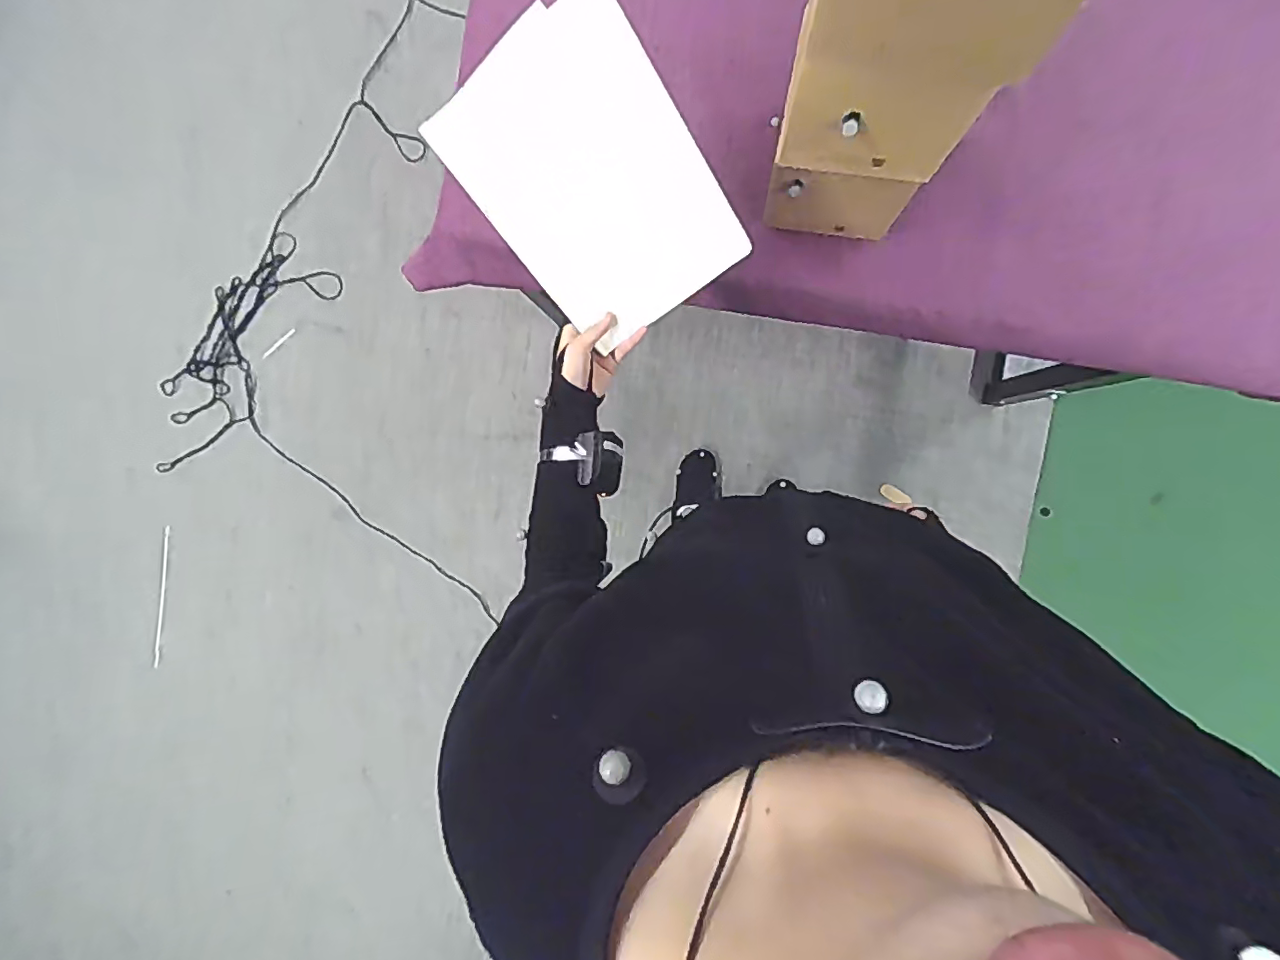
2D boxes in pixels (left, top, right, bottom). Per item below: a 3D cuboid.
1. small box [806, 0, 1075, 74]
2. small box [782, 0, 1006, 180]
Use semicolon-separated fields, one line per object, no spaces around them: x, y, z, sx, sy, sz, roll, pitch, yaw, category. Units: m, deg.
0.226;-0.412;0.354;0.179;0.176;0.168;13;91;7;small box
0.239;-0.421;0.518;0.168;0.176;0.179;11;91;7;small box
